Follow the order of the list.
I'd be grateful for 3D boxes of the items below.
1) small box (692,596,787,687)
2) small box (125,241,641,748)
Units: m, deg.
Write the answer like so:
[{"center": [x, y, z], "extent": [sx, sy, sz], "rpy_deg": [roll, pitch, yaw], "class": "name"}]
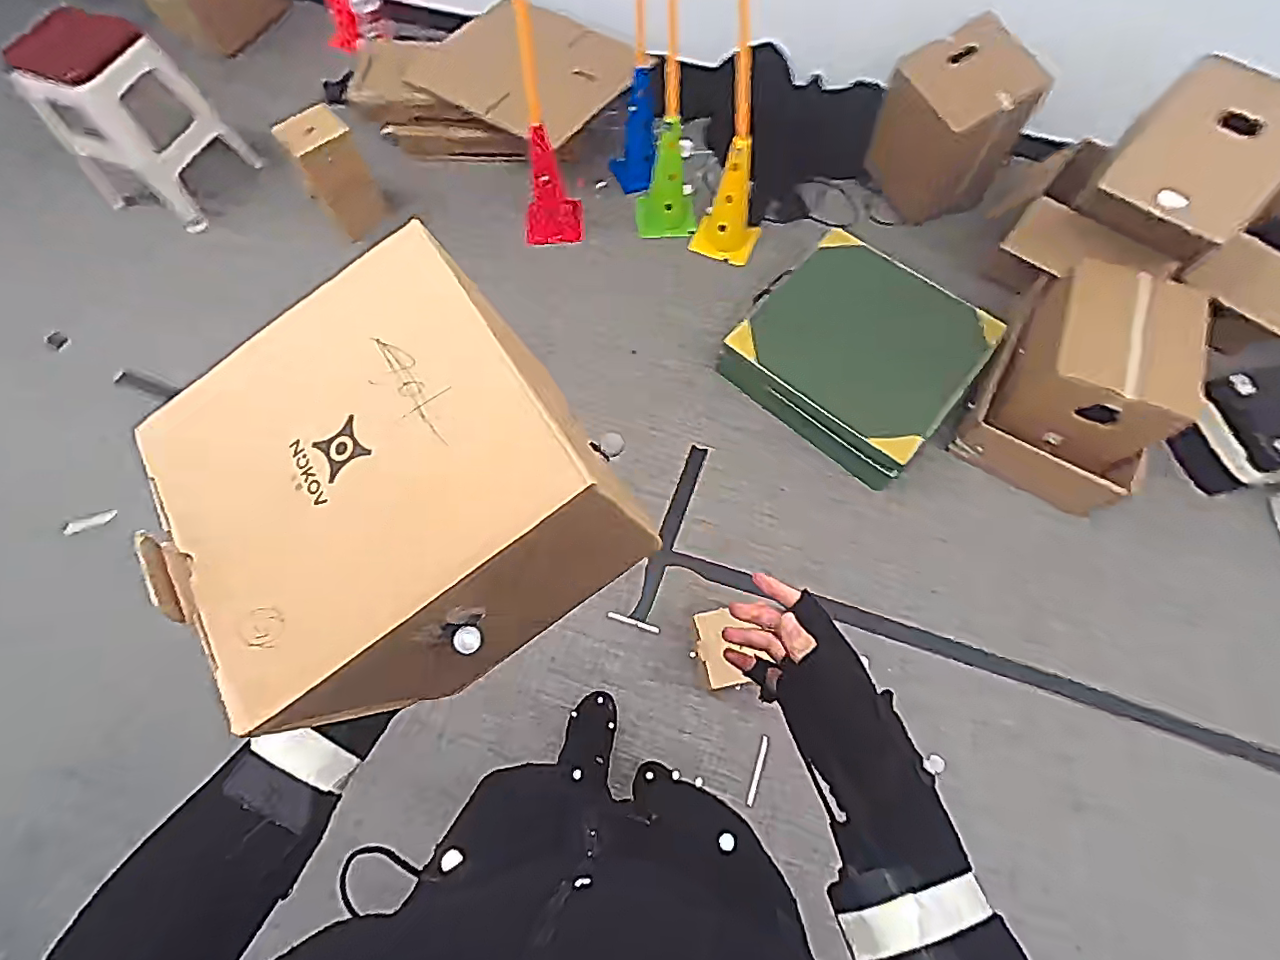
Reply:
[{"center": [0.225, 0.389, 1.286], "extent": [0.179, 0.176, 0.168], "rpy_deg": [-12, 68, -5], "class": "small box"}, {"center": [-0.123, 0.016, 0.311], "extent": [0.179, 0.176, 0.168], "rpy_deg": [-36, 71, 2], "class": "small box"}]
